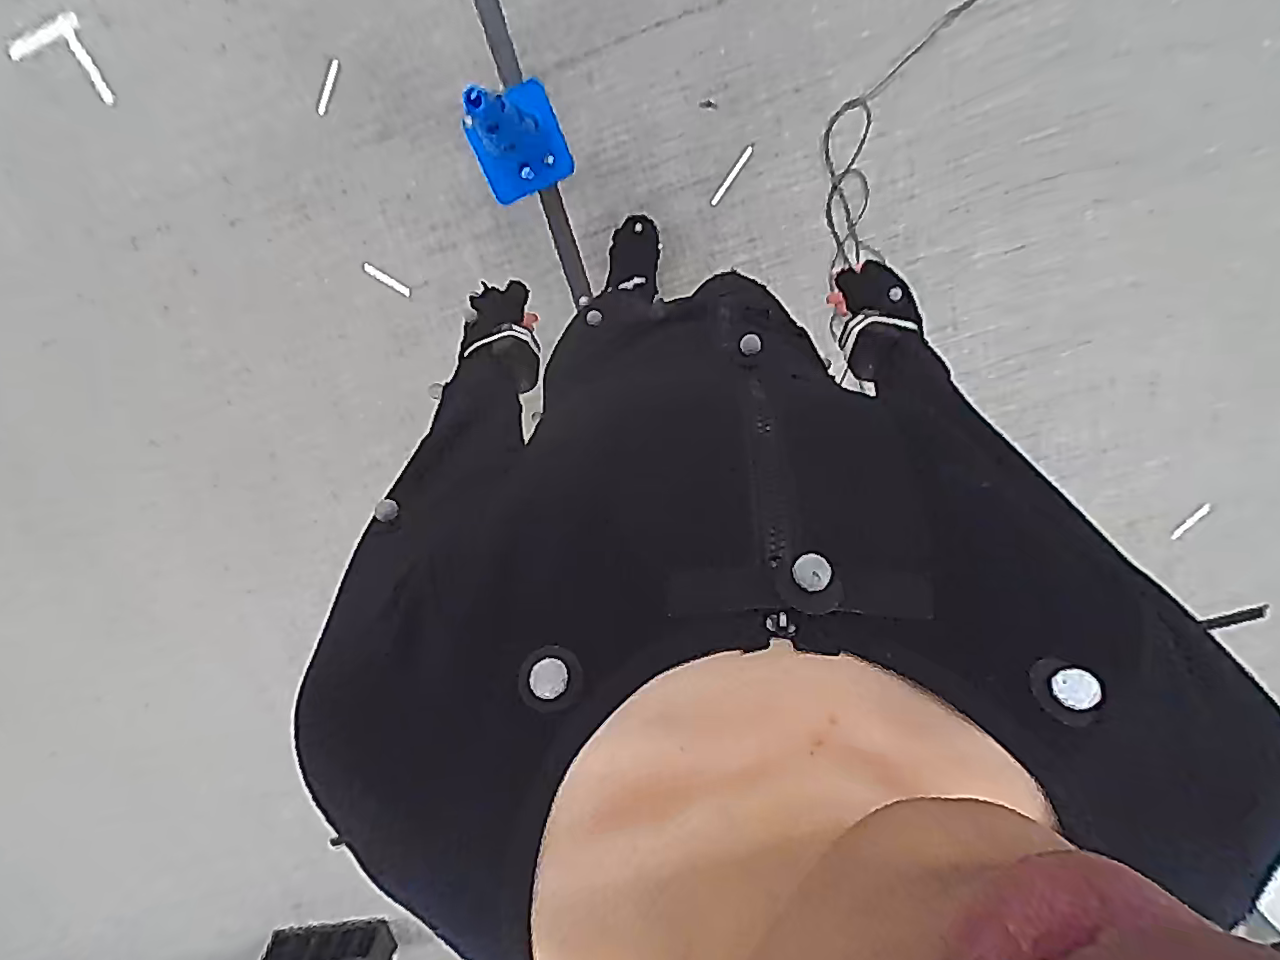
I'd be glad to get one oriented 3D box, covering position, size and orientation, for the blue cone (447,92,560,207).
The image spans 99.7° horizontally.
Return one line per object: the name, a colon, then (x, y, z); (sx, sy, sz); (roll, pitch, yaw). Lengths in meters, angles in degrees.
blue cone: (-0.291, -0.681, 1.063); (0.192, 0.380, 0.193); (-20, 110, 8)
